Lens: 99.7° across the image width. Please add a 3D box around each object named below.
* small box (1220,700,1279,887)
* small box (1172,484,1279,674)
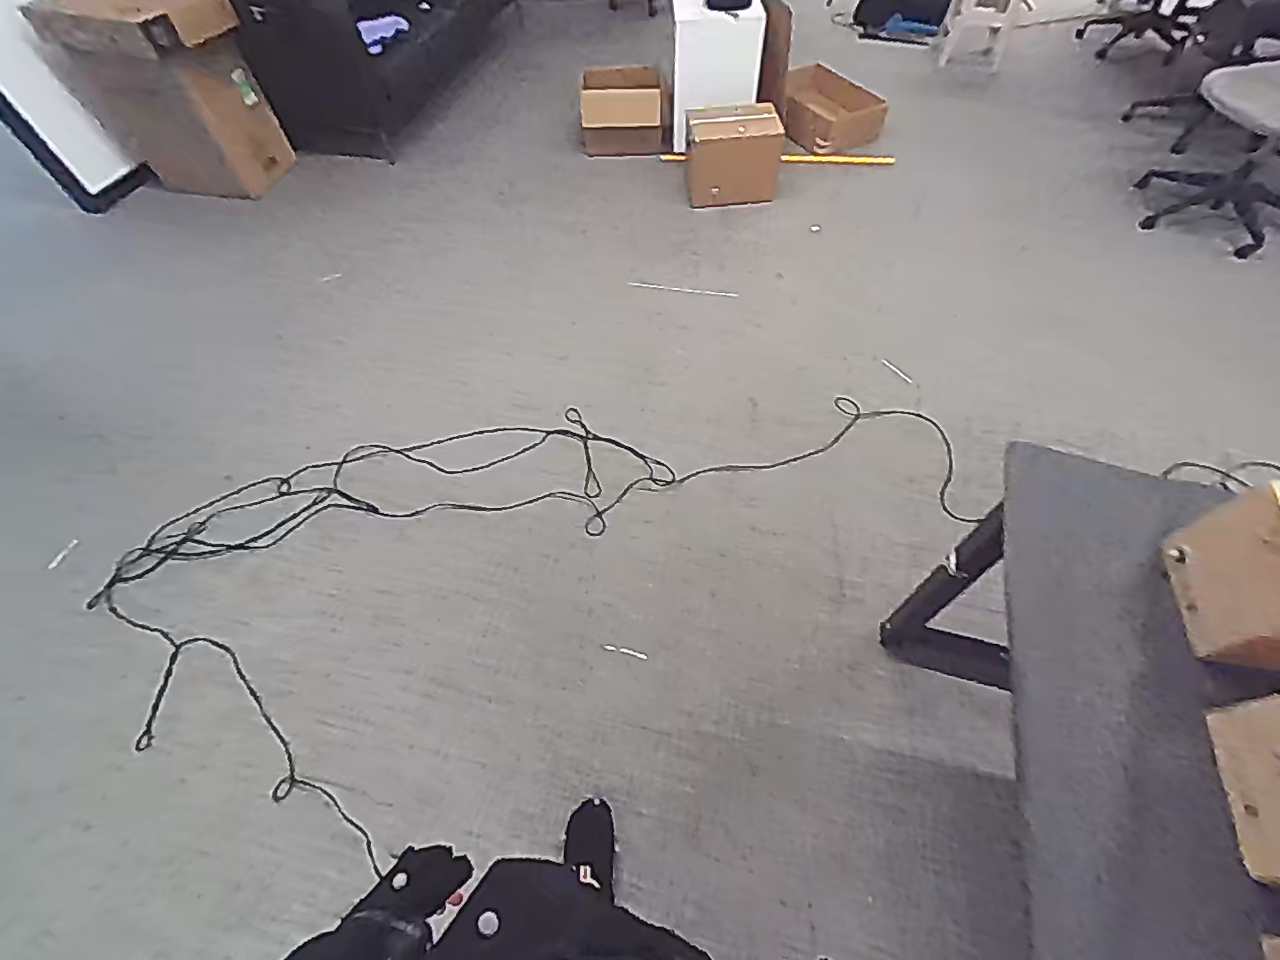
[{"bbox_3d":[0.725,0.317,0.515,0.179,0.176,0.168,13,57,10],"label":"small box"},{"bbox_3d":[0.795,0.129,0.640,0.179,0.176,0.168,10,57,8],"label":"small box"}]
